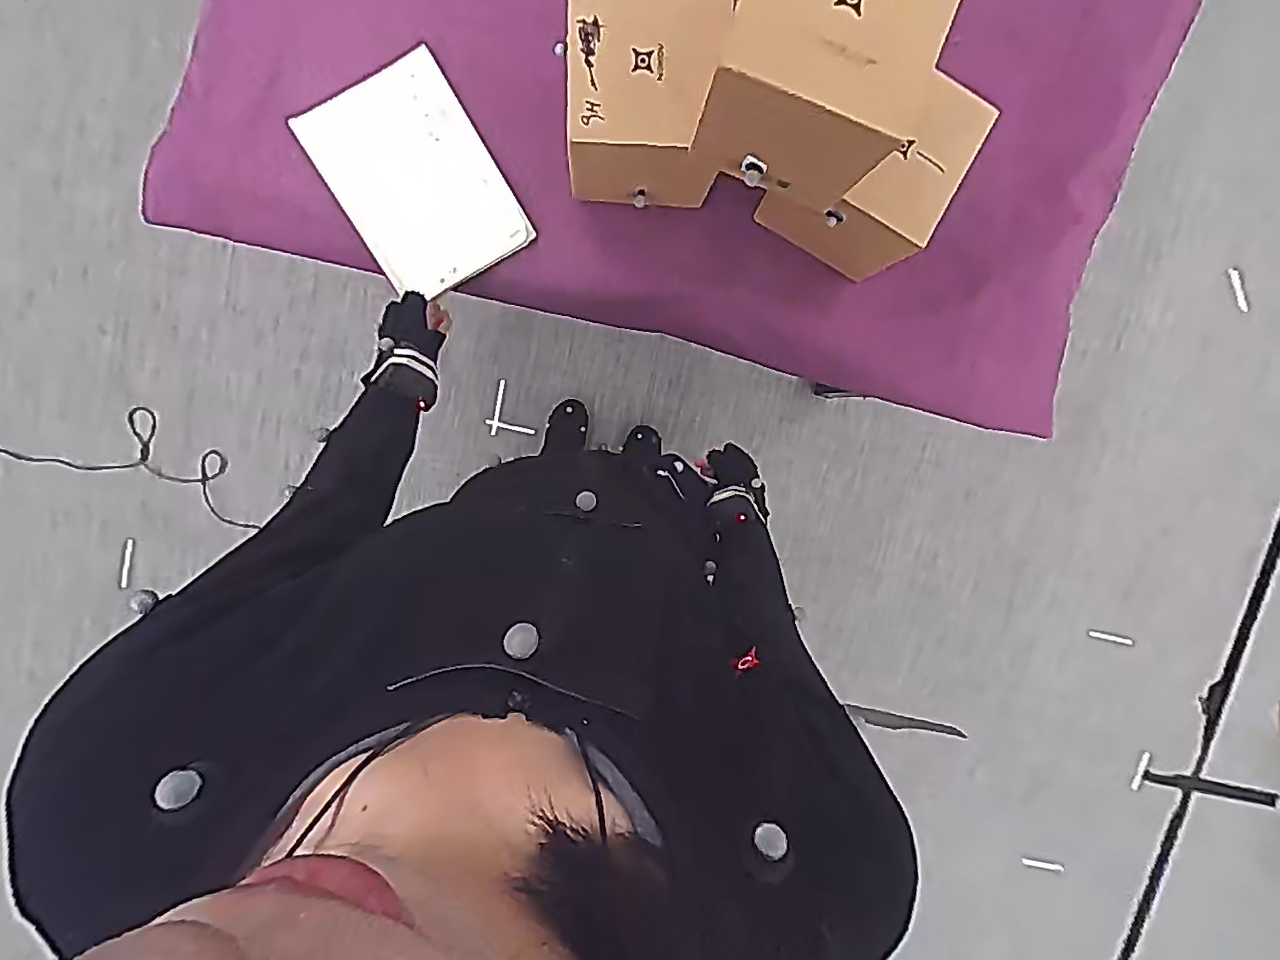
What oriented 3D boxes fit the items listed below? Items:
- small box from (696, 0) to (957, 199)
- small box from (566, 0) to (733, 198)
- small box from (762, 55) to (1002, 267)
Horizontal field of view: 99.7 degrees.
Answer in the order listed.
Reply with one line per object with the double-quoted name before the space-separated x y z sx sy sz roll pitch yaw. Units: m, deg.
"small box" 0.160 -0.396 0.489 0.168 0.176 0.179 18 96 -5
"small box" 0.005 -0.450 0.636 0.179 0.176 0.168 1 97 -5
"small box" 0.275 -0.388 0.661 0.179 0.176 0.168 28 95 -6
